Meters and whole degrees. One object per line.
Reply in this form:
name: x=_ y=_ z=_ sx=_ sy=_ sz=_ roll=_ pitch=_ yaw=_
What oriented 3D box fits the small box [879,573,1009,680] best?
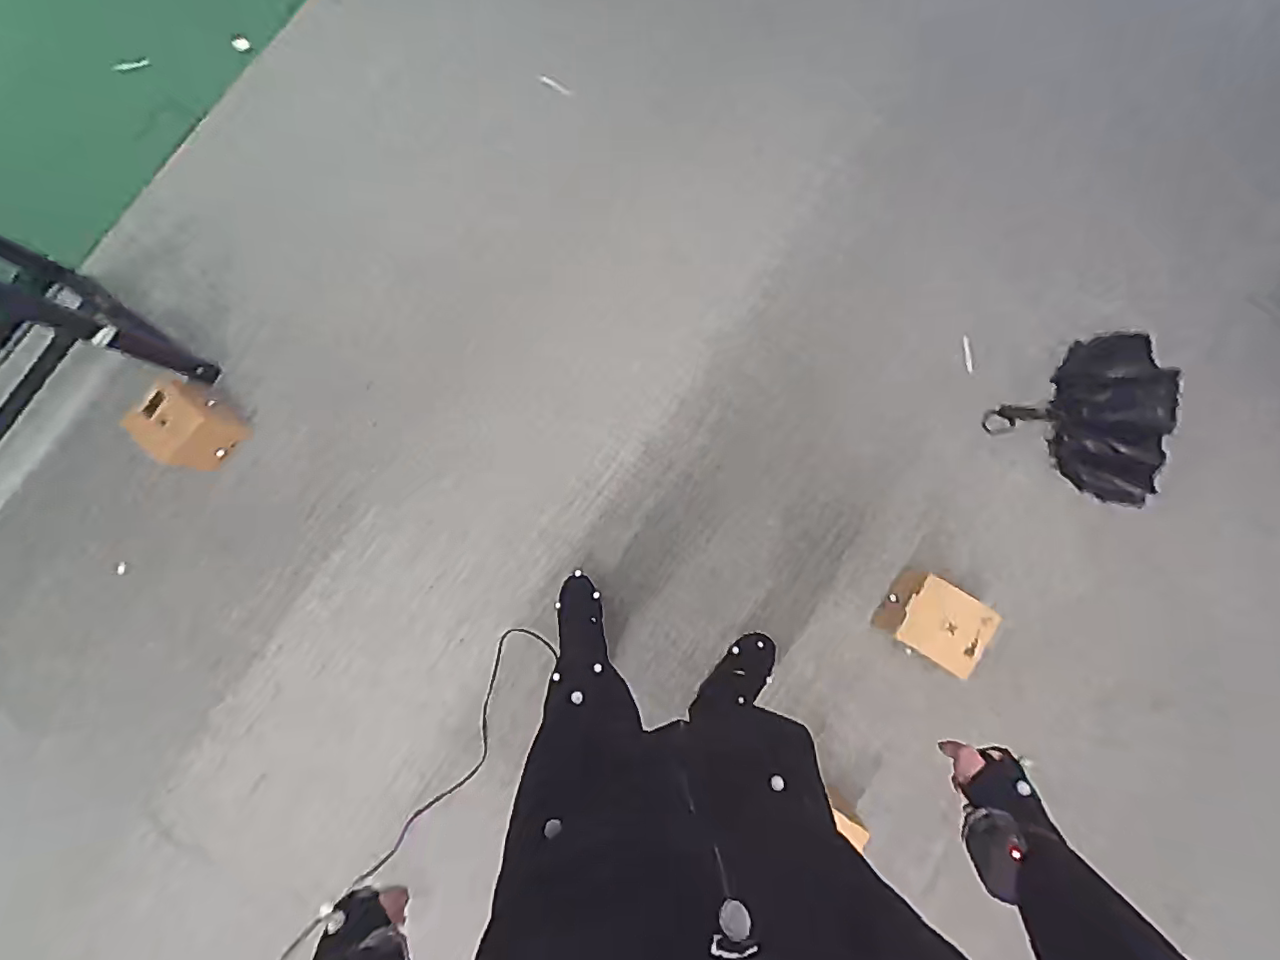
small box: x=0.689 y=0.330 z=1.251 sx=0.179 sy=0.176 sz=0.168 roll=32 pitch=87 yaw=10

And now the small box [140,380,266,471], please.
small box: x=-1.205 y=-0.142 z=1.503 sx=0.179 sy=0.176 sz=0.168 roll=41 pitch=88 yaw=8
